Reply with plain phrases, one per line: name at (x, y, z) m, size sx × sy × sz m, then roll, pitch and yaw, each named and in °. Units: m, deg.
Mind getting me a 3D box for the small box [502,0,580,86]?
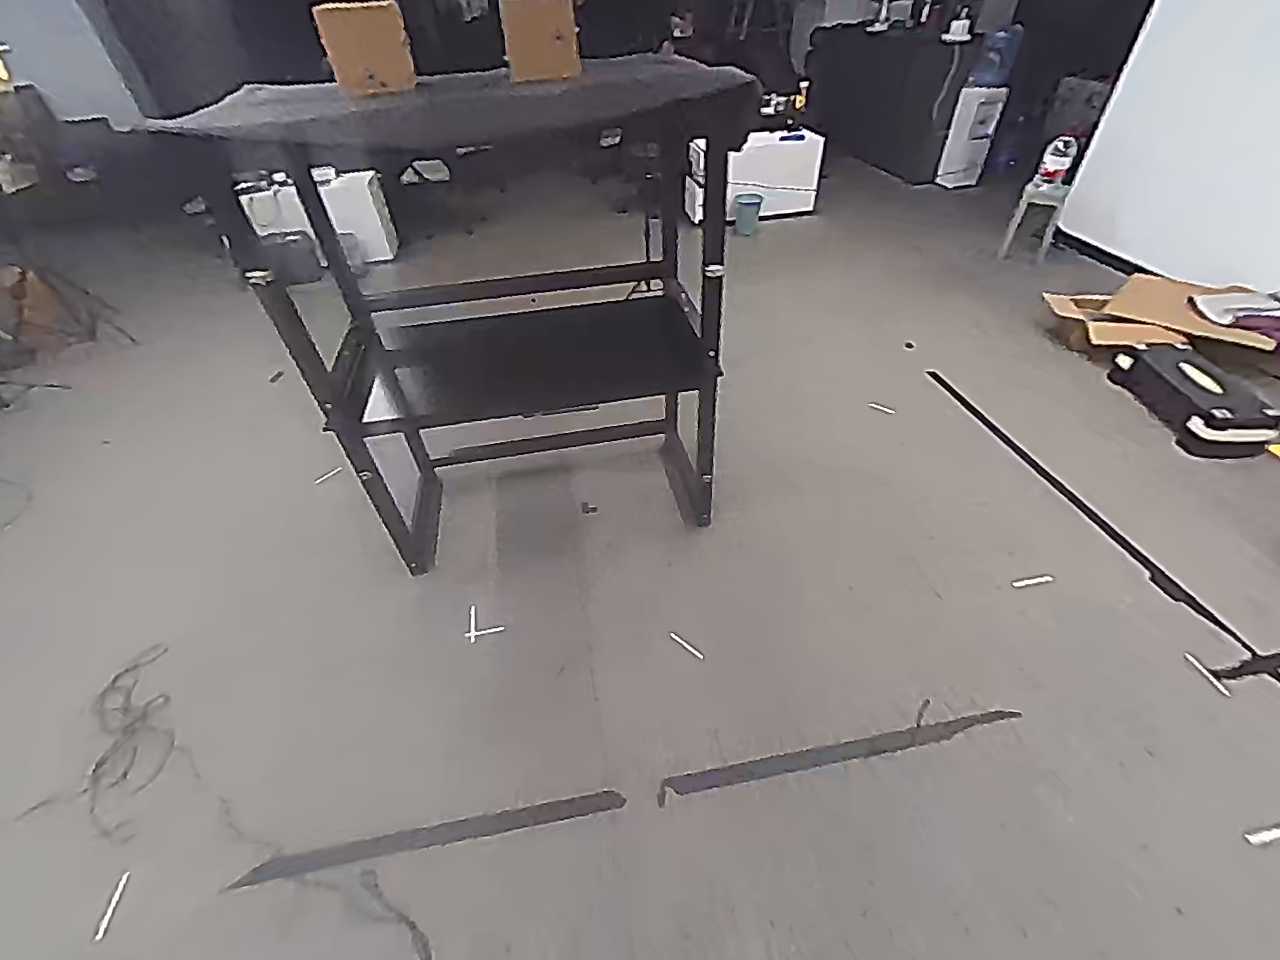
small box at (-0.248, -1.135, 1.393) m, size 0.179 × 0.176 × 0.168 m, roll -8°, pitch 42°, yaw -4°
